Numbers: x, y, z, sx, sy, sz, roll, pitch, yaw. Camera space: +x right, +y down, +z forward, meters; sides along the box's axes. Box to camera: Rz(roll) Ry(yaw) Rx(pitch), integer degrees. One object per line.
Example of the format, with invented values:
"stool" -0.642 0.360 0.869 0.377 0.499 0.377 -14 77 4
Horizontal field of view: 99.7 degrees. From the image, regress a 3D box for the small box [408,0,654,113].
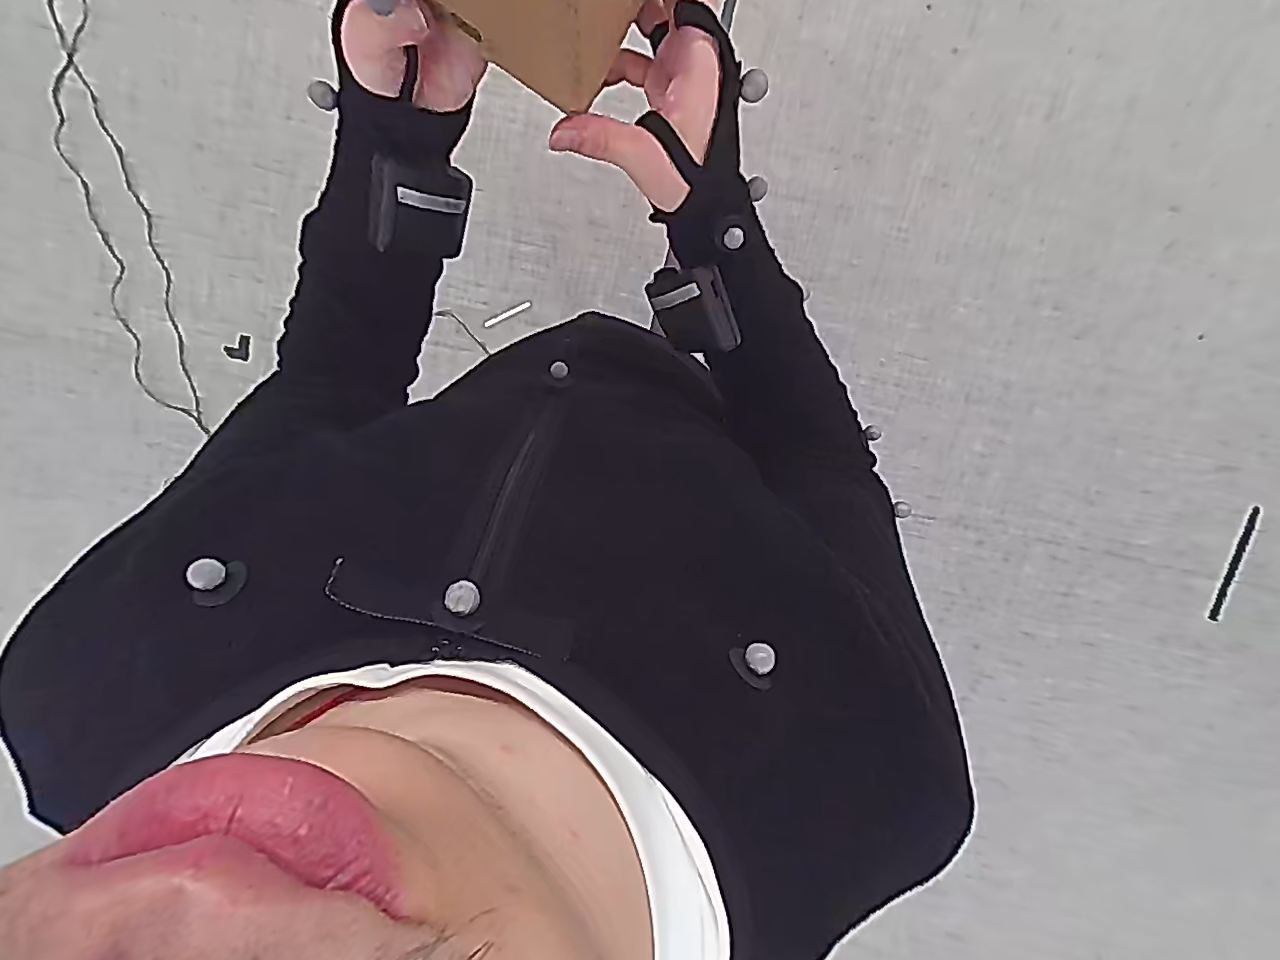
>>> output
"small box" -0.046 -0.281 0.187 0.168 0.176 0.179 28 103 -13
